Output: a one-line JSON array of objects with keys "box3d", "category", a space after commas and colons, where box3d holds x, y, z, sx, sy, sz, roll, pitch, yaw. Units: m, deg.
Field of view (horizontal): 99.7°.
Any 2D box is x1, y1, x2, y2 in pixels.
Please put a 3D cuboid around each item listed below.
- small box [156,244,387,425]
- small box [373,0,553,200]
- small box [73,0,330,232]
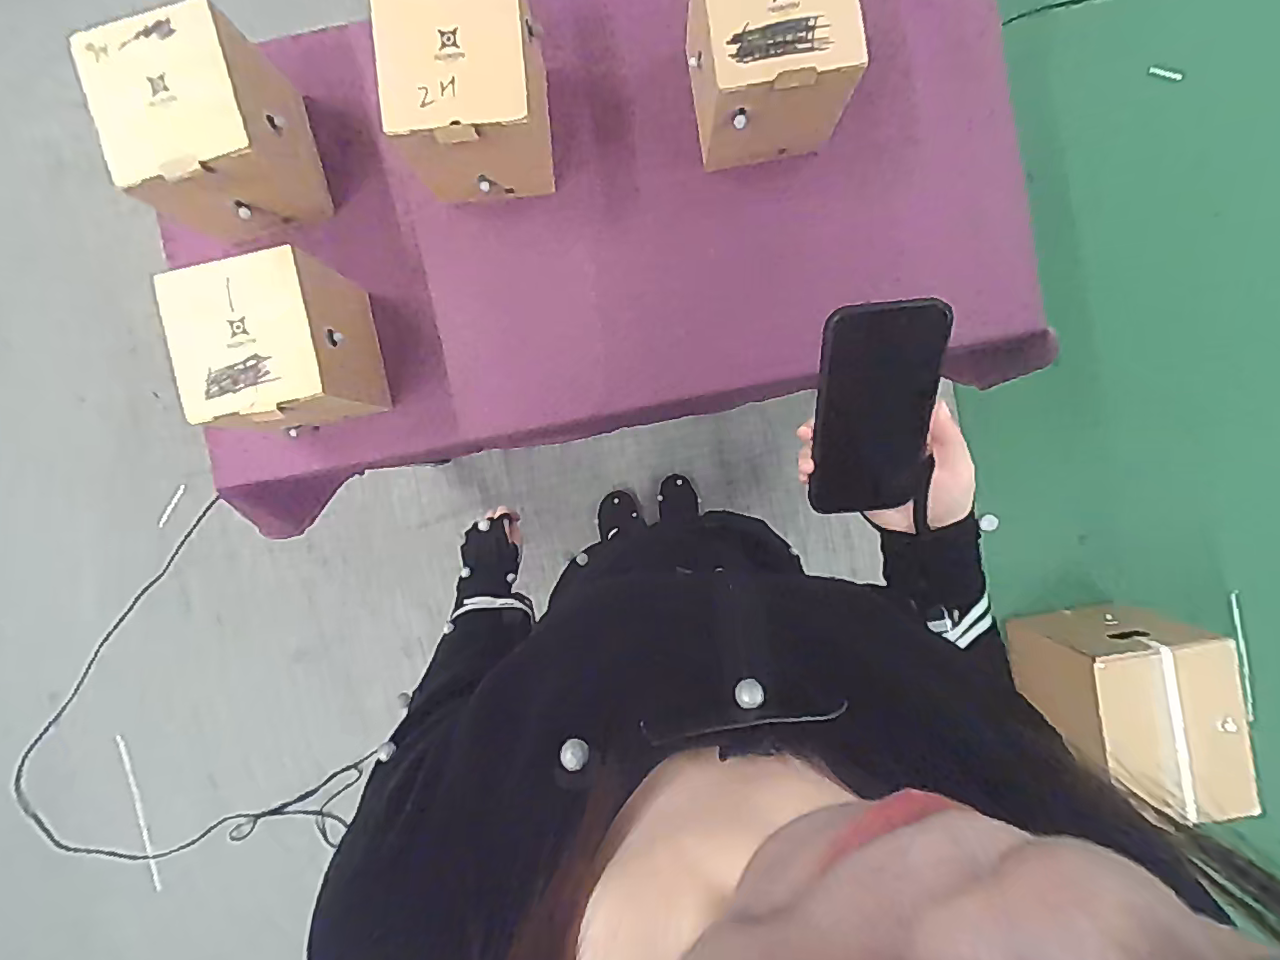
[{"box3d": [-0.454, -0.171, 0.696, 0.168, 0.176, 0.179, -12, 91, 1], "category": "small box"}, {"box3d": [-0.209, -0.482, 0.676, 0.168, 0.176, 0.179, -4, 93, 2], "category": "small box"}, {"box3d": [-0.533, -0.438, 0.687, 0.168, 0.176, 0.179, -15, 93, 1], "category": "small box"}]
